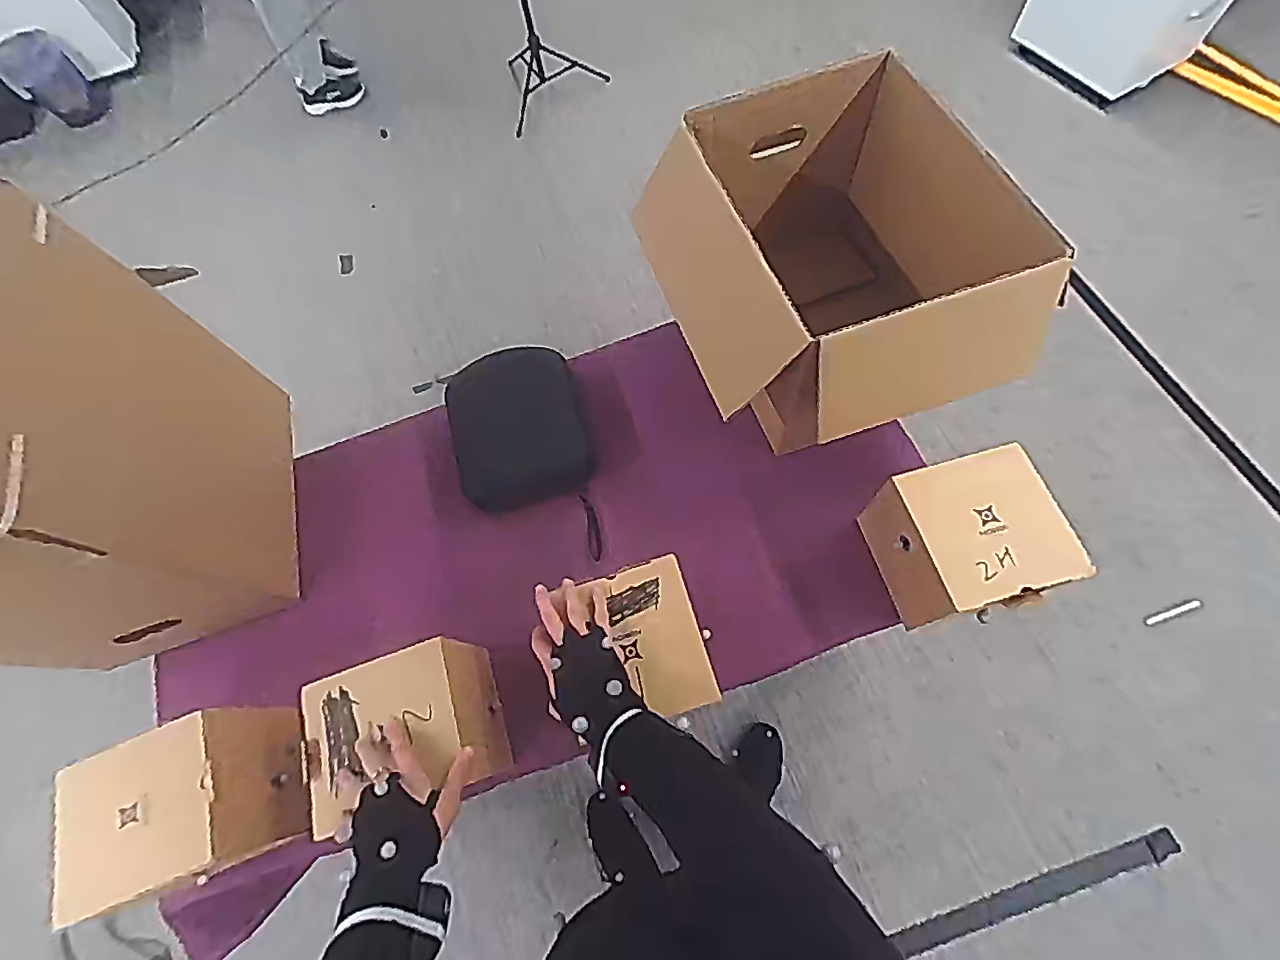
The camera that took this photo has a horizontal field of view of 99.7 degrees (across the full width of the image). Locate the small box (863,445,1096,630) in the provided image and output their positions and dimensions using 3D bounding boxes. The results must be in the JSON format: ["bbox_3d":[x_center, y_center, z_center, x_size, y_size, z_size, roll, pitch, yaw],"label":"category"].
[{"bbox_3d":[0.419,0.083,0.709,0.168,0.176,0.179,-16,67,0],"label":"small box"}]

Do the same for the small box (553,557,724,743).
[{"bbox_3d":[-0.001,0.221,0.698,0.168,0.176,0.179,-17,68,-1],"label":"small box"}]

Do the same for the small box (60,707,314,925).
[{"bbox_3d":[-0.554,0.404,0.681,0.179,0.176,0.168,-23,67,-5],"label":"small box"}]
